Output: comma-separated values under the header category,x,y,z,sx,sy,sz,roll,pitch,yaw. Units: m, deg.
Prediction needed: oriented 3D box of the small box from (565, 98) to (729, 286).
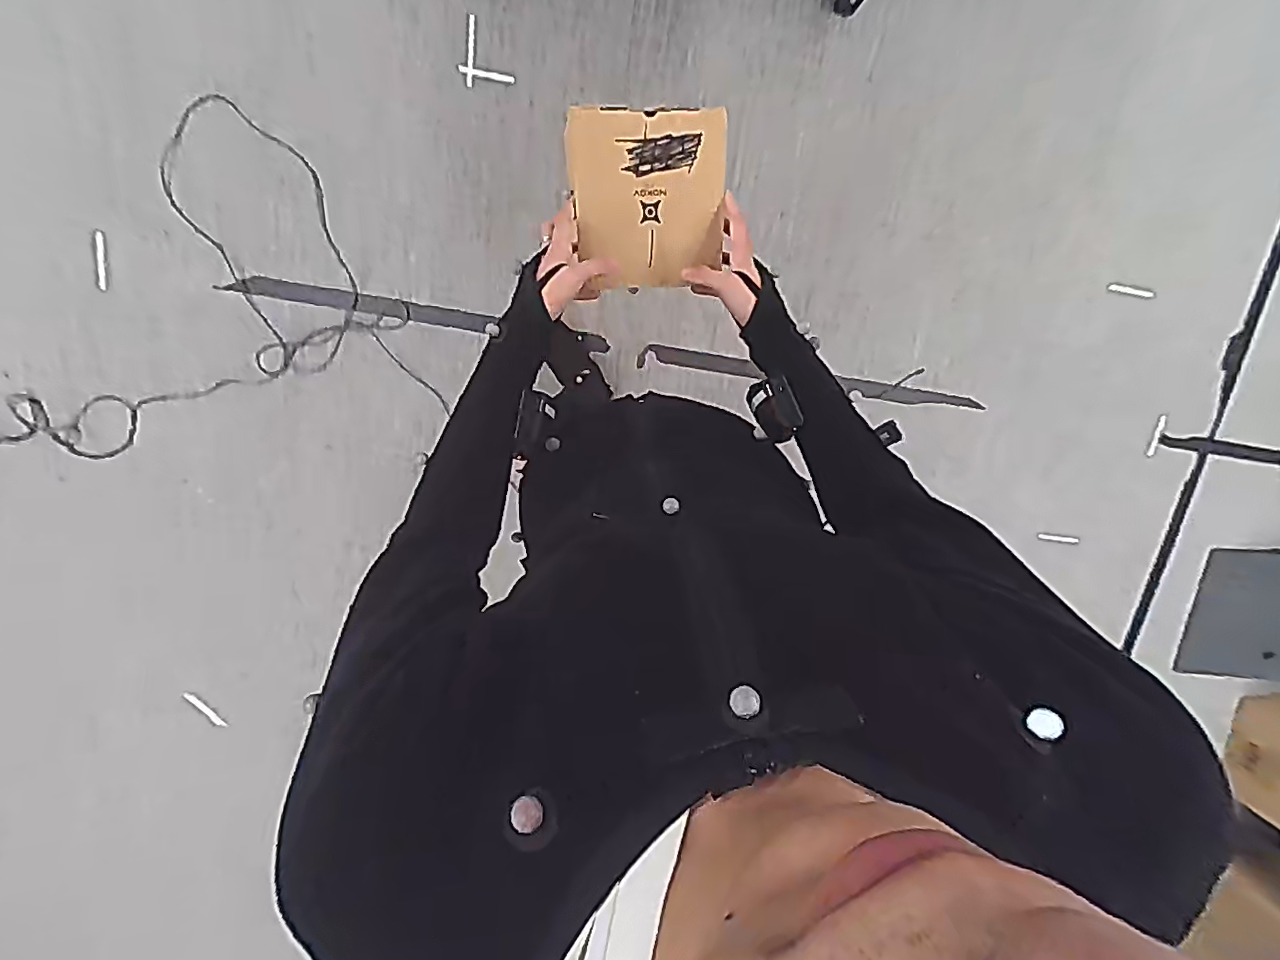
category,x,y,z,sx,sy,sz,roll,pitch,yaw
small box,0.000,-0.332,0.645,0.168,0.176,0.179,-5,115,-7
